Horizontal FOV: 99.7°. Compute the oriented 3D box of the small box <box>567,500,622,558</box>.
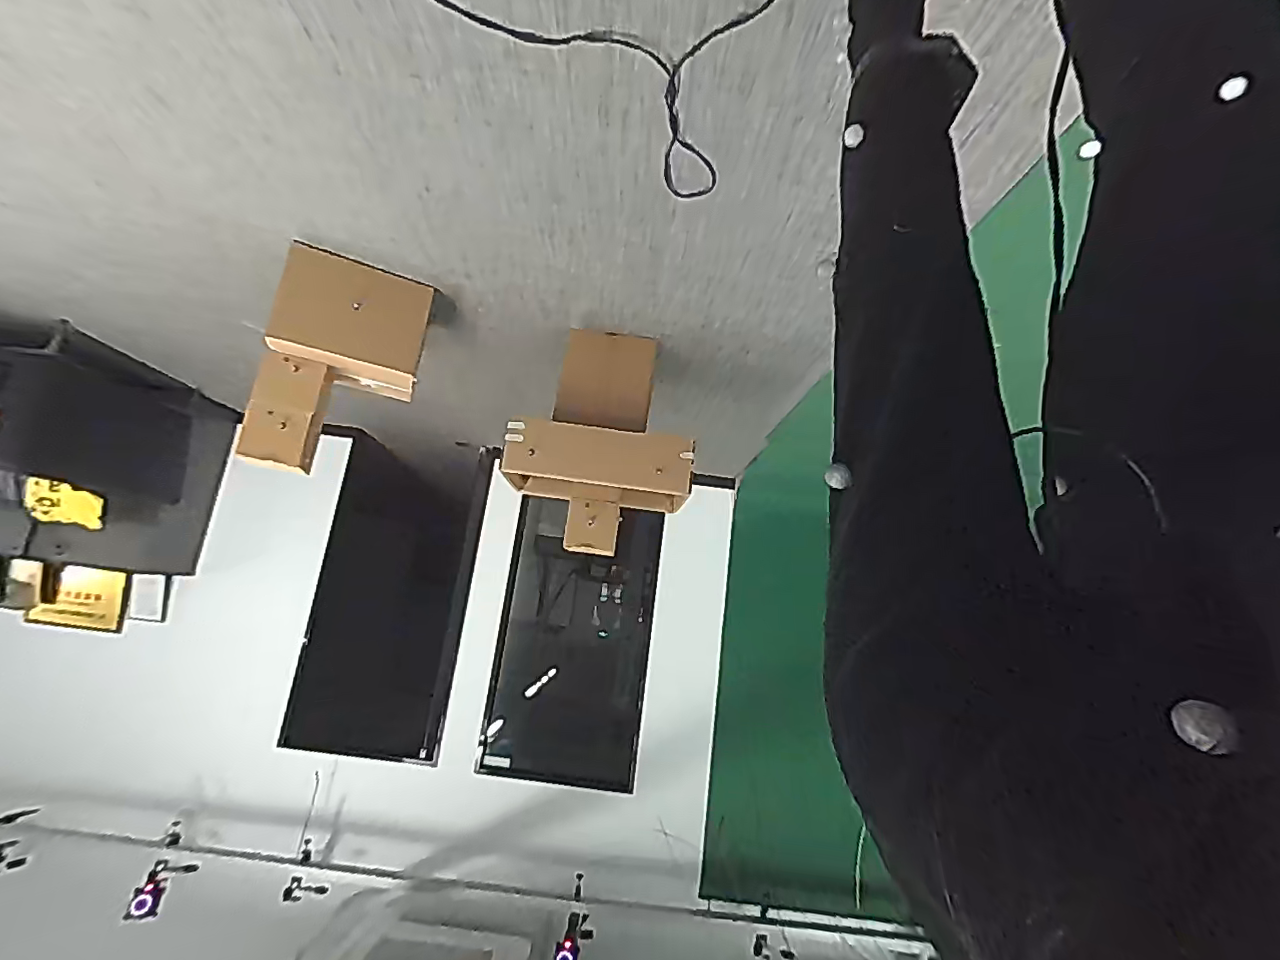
[{"bbox_3d":[-0.154,0.170,1.878,0.168,0.176,0.179,7,166,2],"label":"small box"}]

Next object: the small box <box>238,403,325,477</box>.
[{"bbox_3d":[-1.088,-0.120,1.657,0.168,0.176,0.179,12,166,-19],"label":"small box"}]

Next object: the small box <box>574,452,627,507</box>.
[{"bbox_3d":[-0.137,0.011,1.916,0.168,0.176,0.179,7,166,-1],"label":"small box"}]
